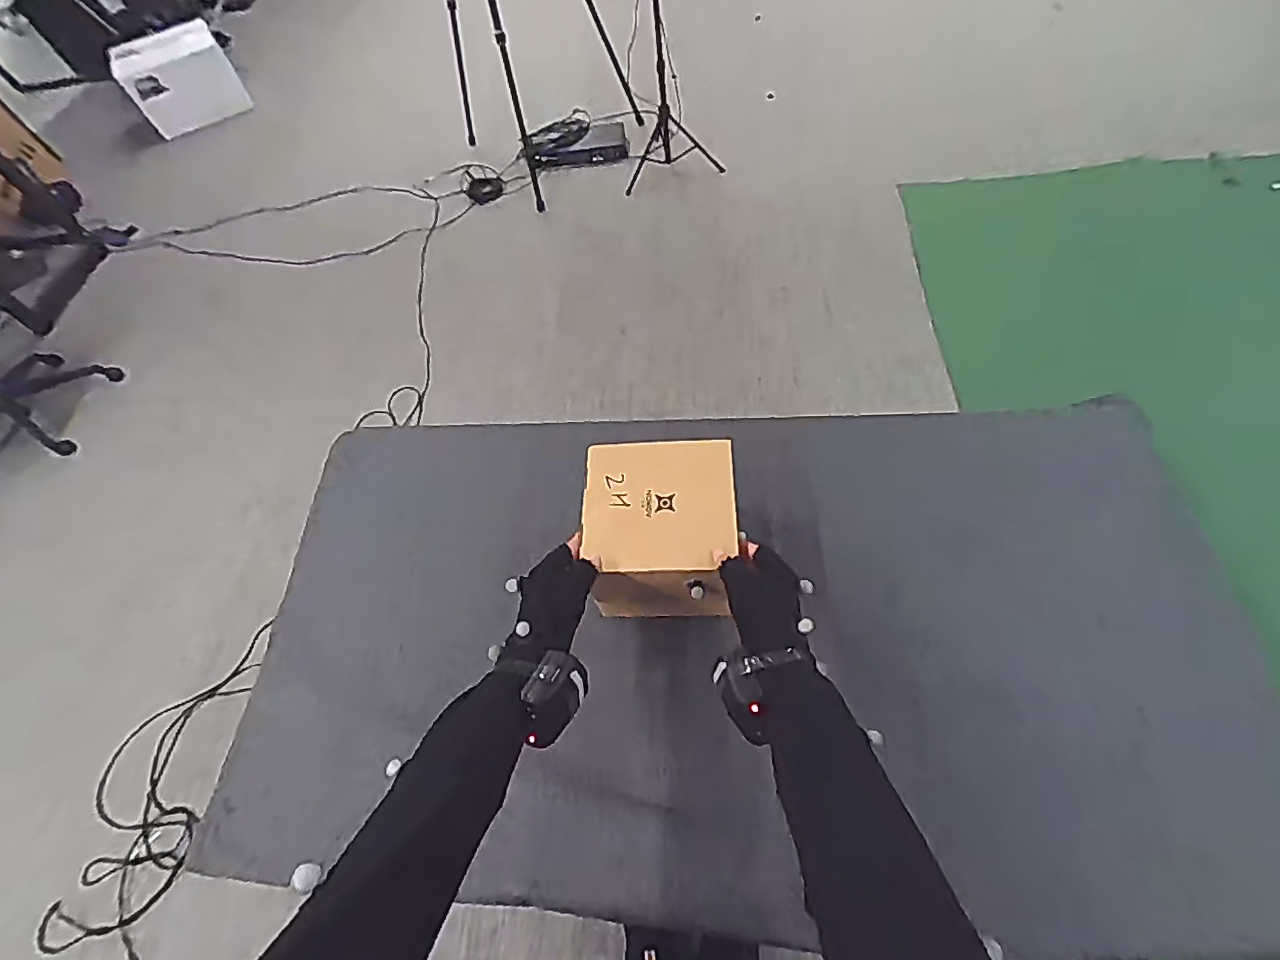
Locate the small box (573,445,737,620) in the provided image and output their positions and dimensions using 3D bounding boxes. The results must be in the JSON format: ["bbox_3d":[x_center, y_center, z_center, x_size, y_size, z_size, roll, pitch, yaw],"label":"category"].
[{"bbox_3d":[0.025,0.072,0.678,0.179,0.176,0.168,-3,59,7],"label":"small box"}]
